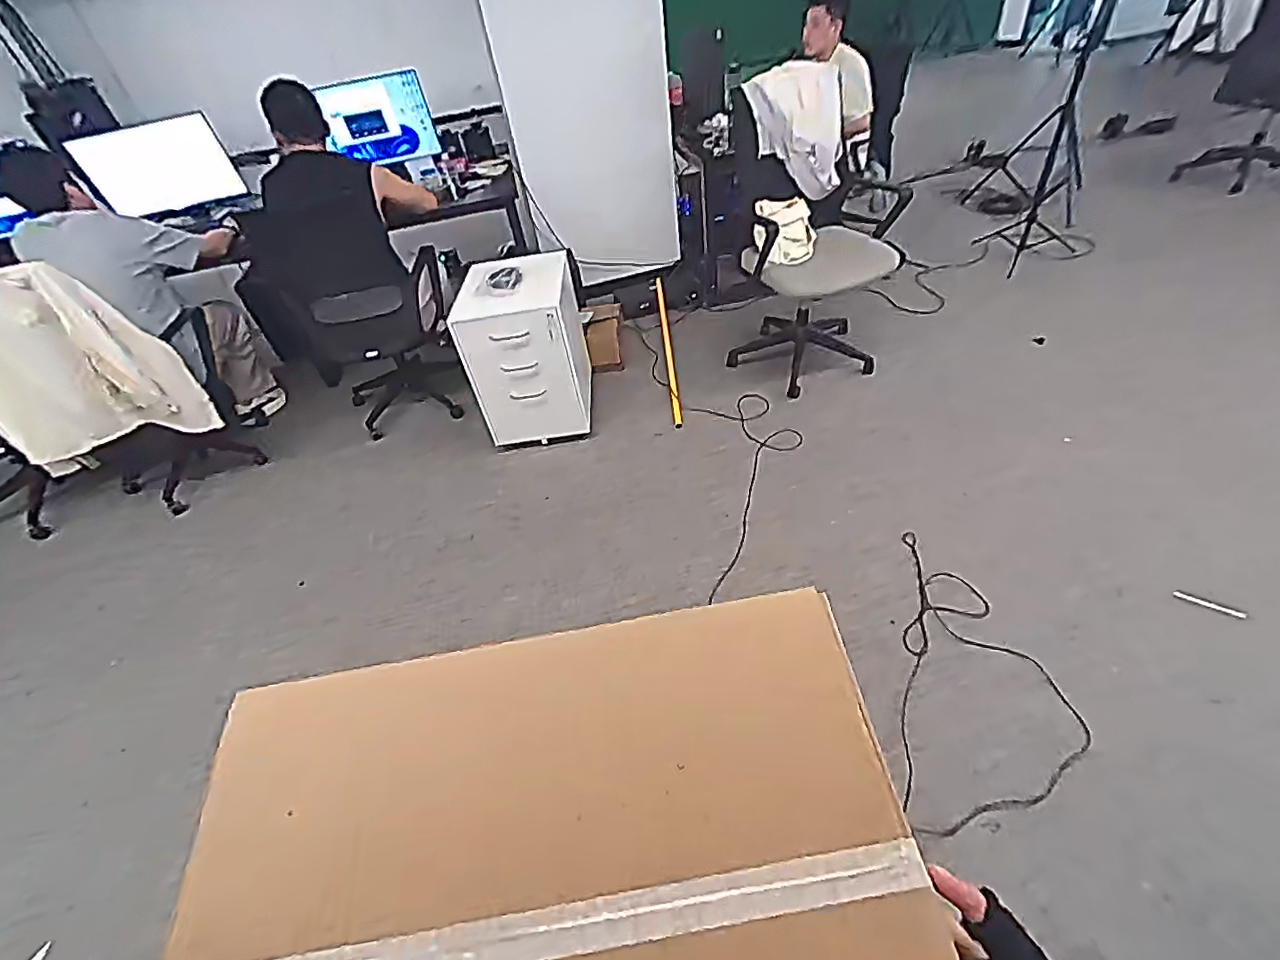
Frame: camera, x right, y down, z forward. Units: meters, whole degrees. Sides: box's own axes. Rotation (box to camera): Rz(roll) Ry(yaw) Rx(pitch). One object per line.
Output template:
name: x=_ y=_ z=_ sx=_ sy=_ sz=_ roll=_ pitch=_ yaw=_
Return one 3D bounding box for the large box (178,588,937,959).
large box: x=-0.039 y=0.316 z=0.415 sx=0.408 sy=0.320 sz=0.320 roll=-10 pitch=55 yaw=0
